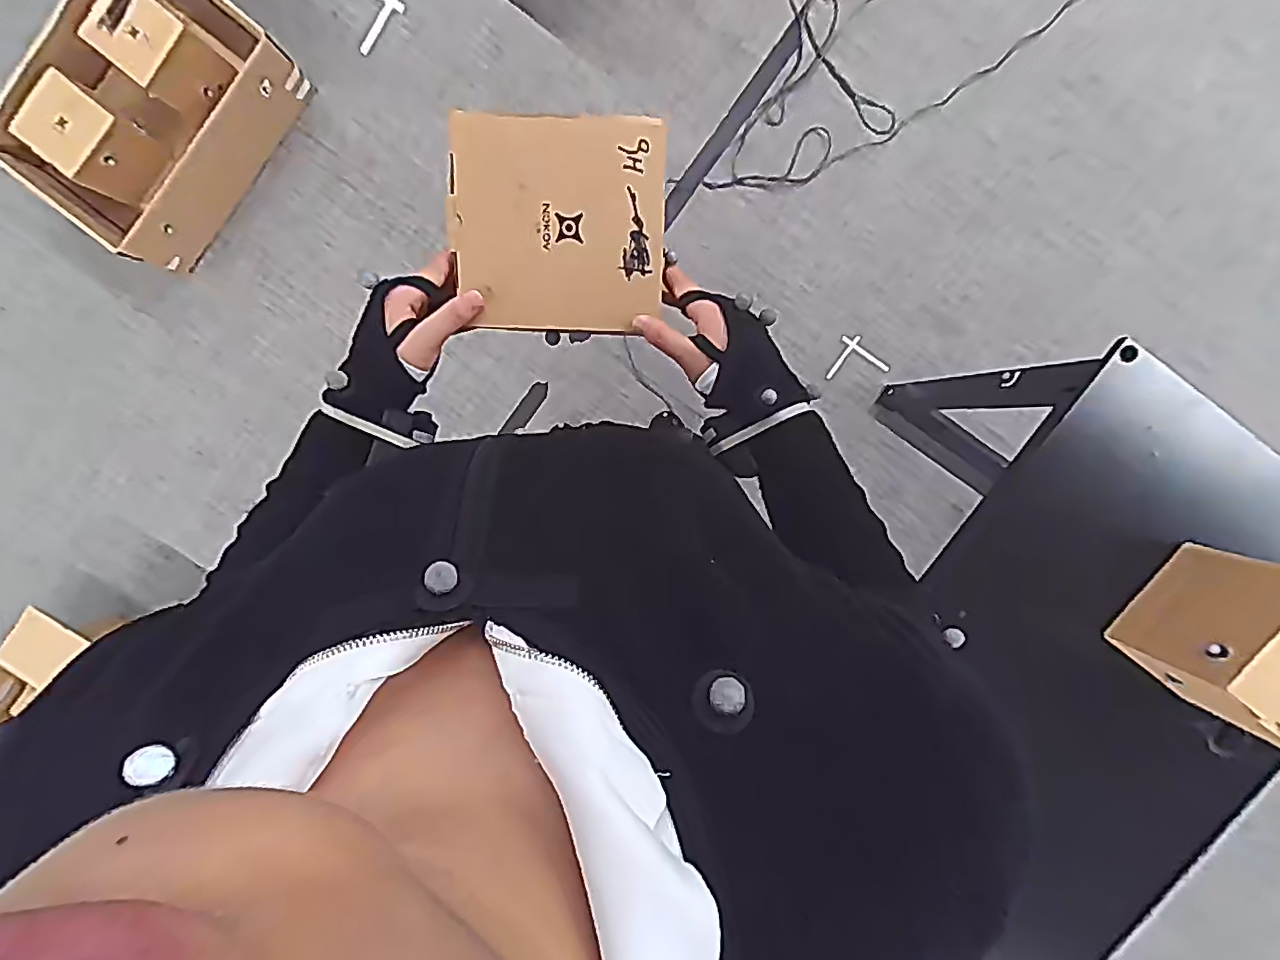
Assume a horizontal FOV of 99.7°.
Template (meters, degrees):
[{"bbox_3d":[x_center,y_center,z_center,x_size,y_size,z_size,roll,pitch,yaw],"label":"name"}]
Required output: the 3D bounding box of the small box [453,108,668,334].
[{"bbox_3d":[-0.066,-0.233,0.528,0.179,0.176,0.168,2,103,0],"label":"small box"}]

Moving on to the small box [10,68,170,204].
[{"bbox_3d":[-1.284,-0.798,1.279,0.168,0.176,0.179,40,93,-6],"label":"small box"}]

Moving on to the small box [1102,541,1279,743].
[{"bbox_3d":[0.783,0.204,0.713,0.168,0.176,0.179,37,96,-4],"label":"small box"}]
